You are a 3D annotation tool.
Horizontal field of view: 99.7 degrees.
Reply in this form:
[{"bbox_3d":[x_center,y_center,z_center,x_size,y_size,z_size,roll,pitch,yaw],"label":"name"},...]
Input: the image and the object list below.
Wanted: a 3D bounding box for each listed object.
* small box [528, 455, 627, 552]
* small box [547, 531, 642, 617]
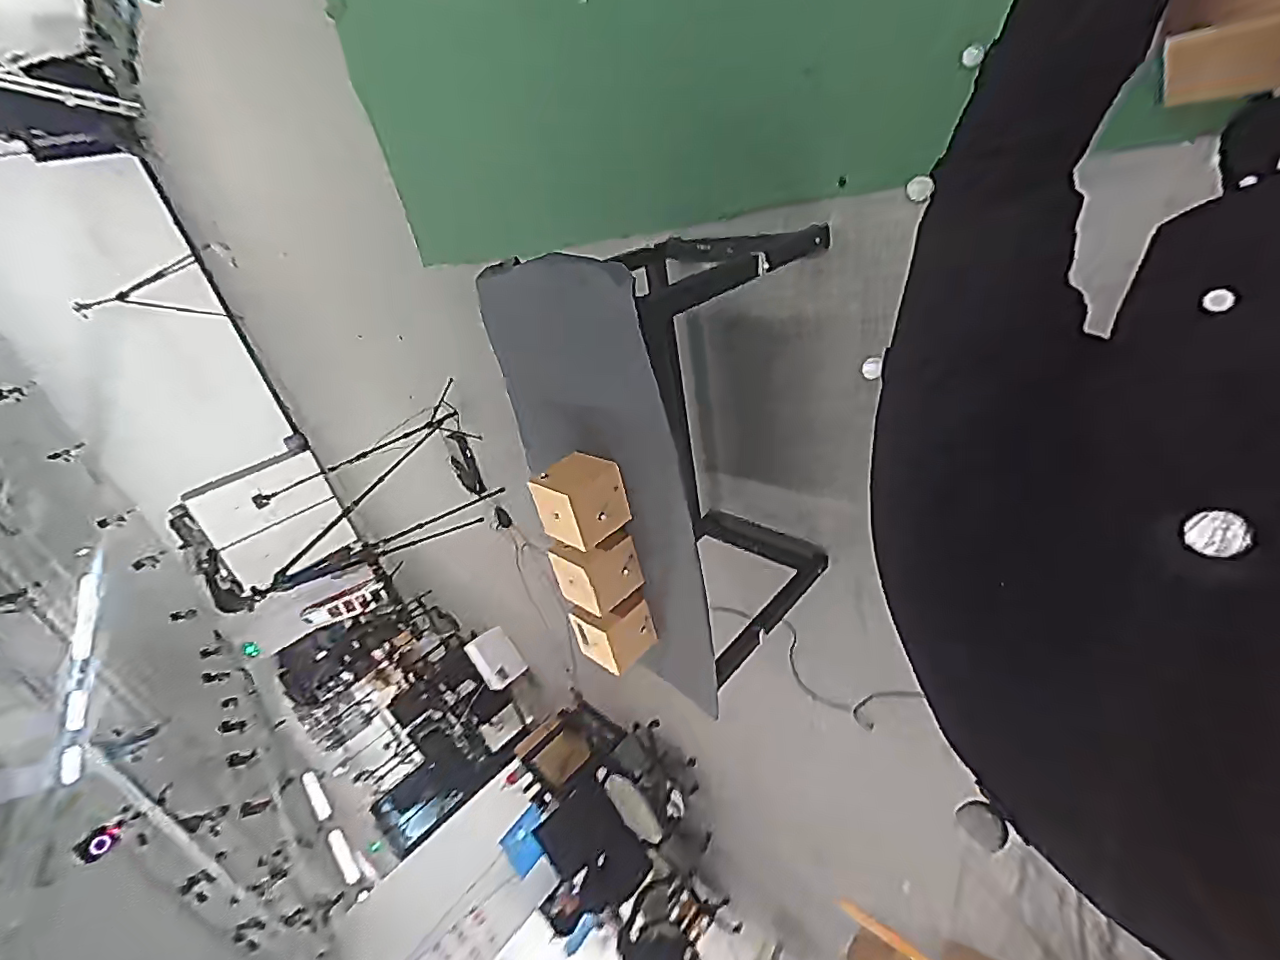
[{"bbox_3d":[-0.150,0.052,1.372,0.179,0.176,0.168,16,129,45],"label":"small box"},{"bbox_3d":[-0.123,0.241,1.491,0.179,0.176,0.168,15,128,45],"label":"small box"}]
